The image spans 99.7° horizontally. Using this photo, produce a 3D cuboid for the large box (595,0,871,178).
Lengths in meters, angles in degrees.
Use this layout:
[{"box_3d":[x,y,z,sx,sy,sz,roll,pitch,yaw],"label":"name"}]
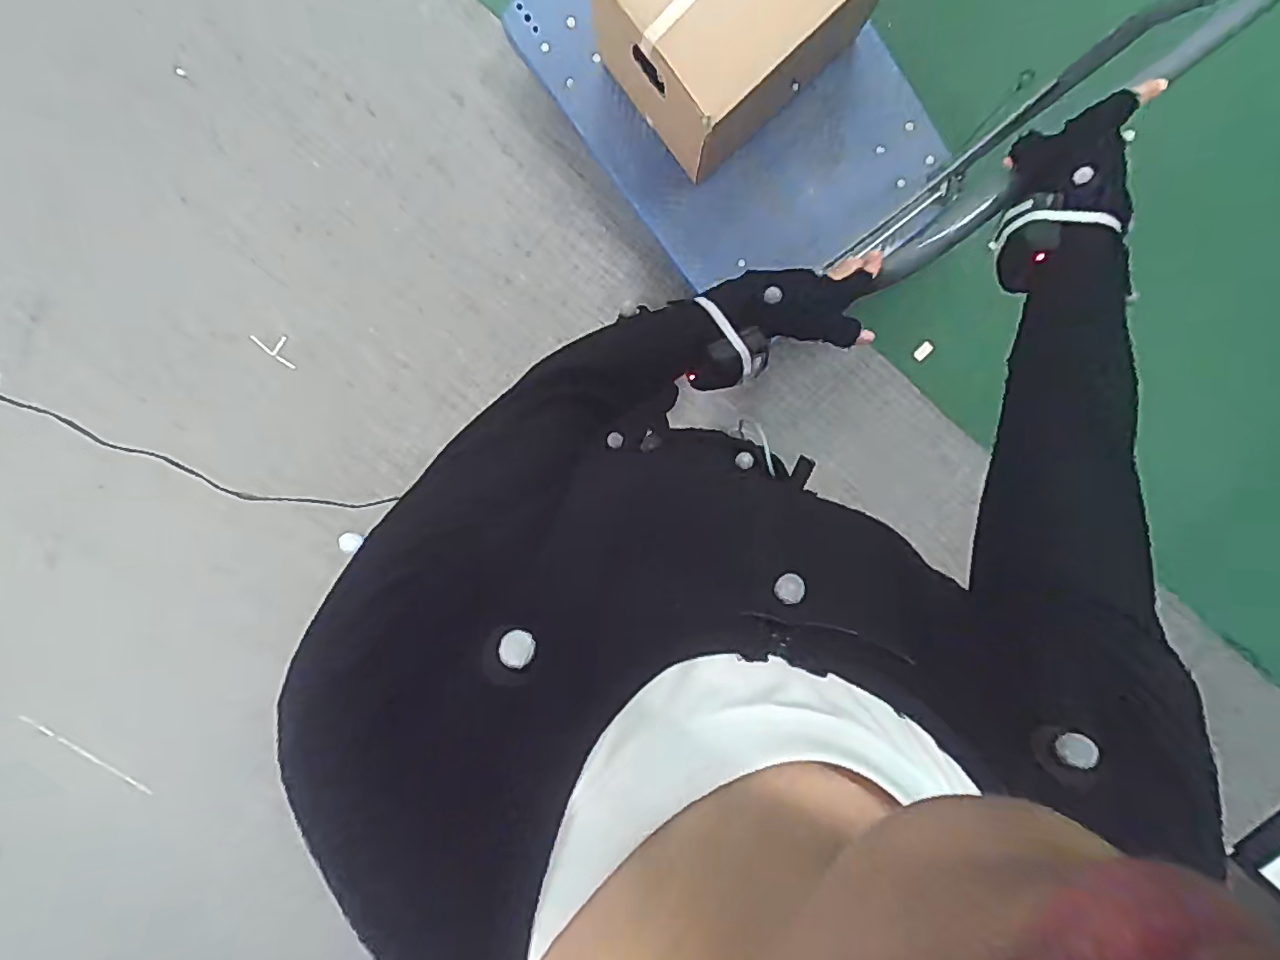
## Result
[{"box_3d":[0.172,-0.833,0.939,0.408,0.320,0.320,-40,98,11],"label":"large box"}]
